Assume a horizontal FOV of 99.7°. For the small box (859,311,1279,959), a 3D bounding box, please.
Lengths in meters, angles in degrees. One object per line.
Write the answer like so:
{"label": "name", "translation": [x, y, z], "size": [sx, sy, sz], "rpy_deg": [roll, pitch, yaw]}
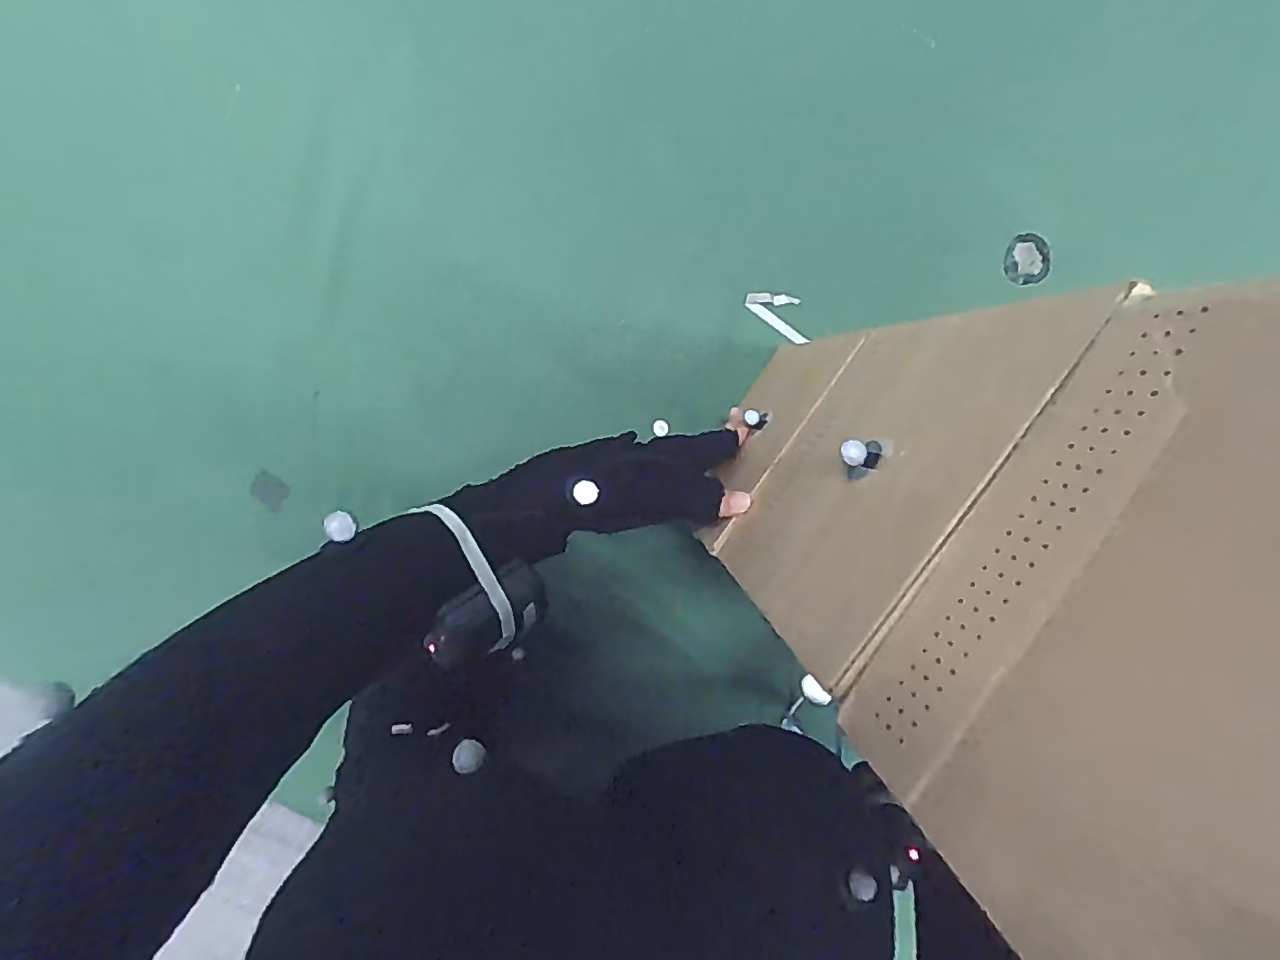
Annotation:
{"label": "small box", "translation": [0.188, 0.071, 0.121], "size": [0.168, 0.176, 0.179], "rpy_deg": [32, 94, -11]}
